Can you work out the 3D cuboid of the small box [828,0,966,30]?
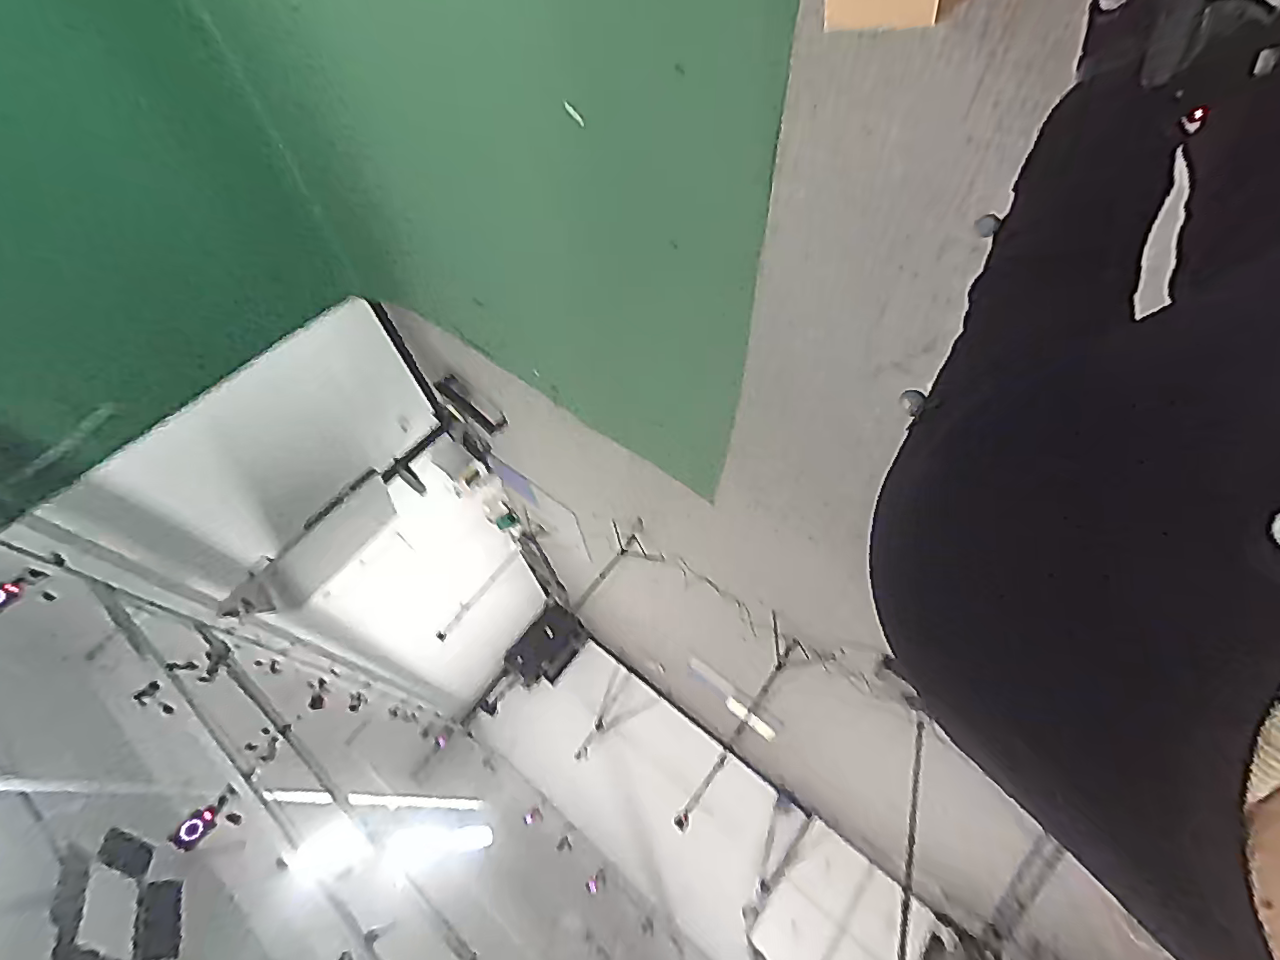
[{"bbox_3d":[0.380,-0.758,0.743,0.168,0.176,0.179,29,155,33],"label":"small box"}]
